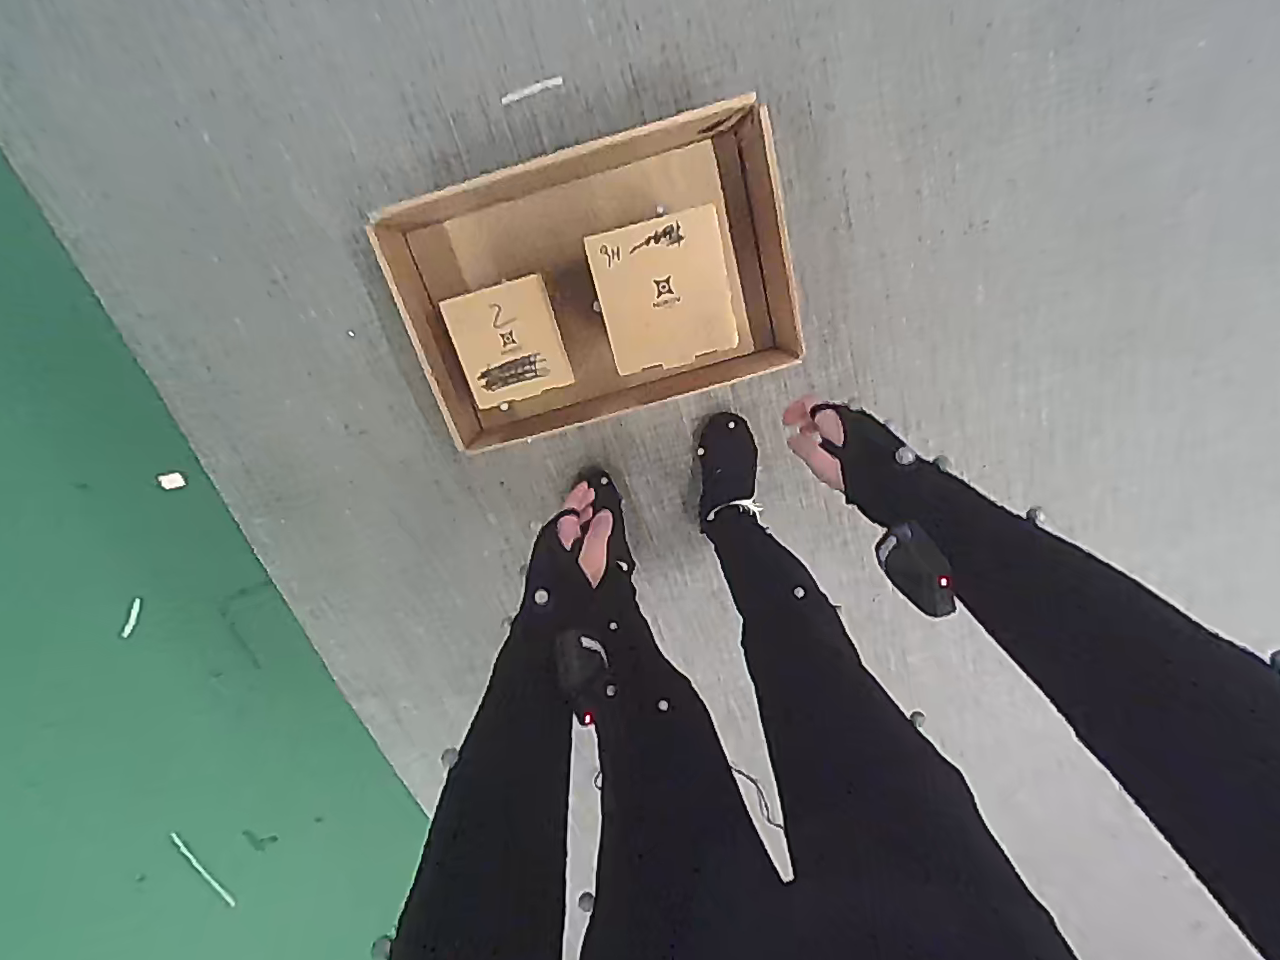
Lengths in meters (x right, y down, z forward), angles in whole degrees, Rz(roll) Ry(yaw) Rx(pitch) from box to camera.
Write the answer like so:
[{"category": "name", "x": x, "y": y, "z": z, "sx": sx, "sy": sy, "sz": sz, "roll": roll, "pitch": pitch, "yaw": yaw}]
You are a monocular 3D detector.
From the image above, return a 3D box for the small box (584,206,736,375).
[{"category": "small box", "x": 0.028, "y": -0.265, "z": 0.754, "sx": 0.168, "sy": 0.176, "sz": 0.179, "roll": -13, "pitch": 112, "yaw": 4}]
